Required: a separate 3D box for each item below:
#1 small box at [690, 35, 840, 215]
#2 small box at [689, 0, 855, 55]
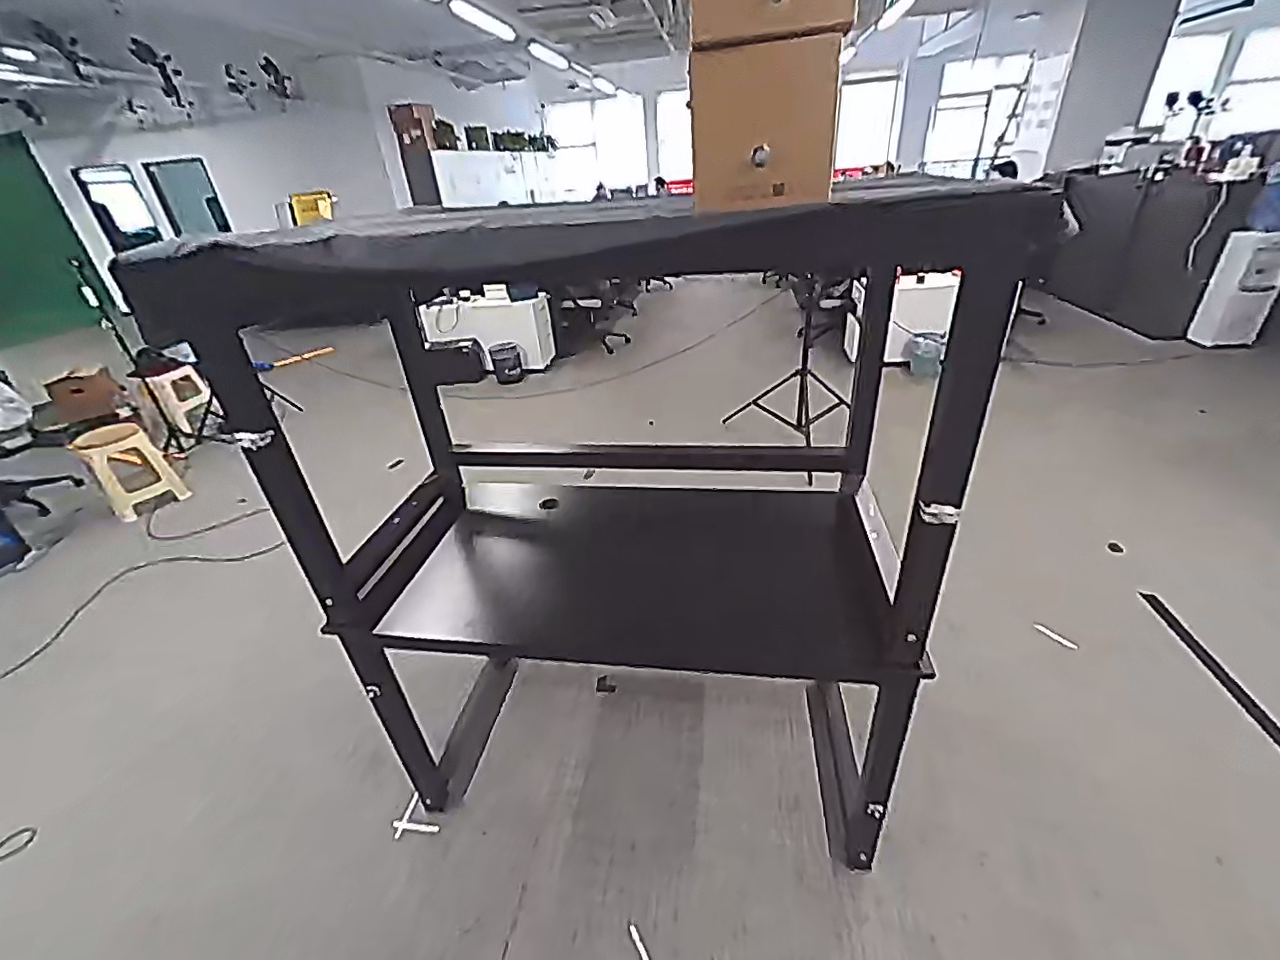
[{"bbox_3d":[0.156,-0.444,0.700,0.168,0.176,0.179,0,30,12],"label":"small box"},{"bbox_3d":[0.142,-0.583,0.608,0.179,0.176,0.168,0,29,7],"label":"small box"}]
